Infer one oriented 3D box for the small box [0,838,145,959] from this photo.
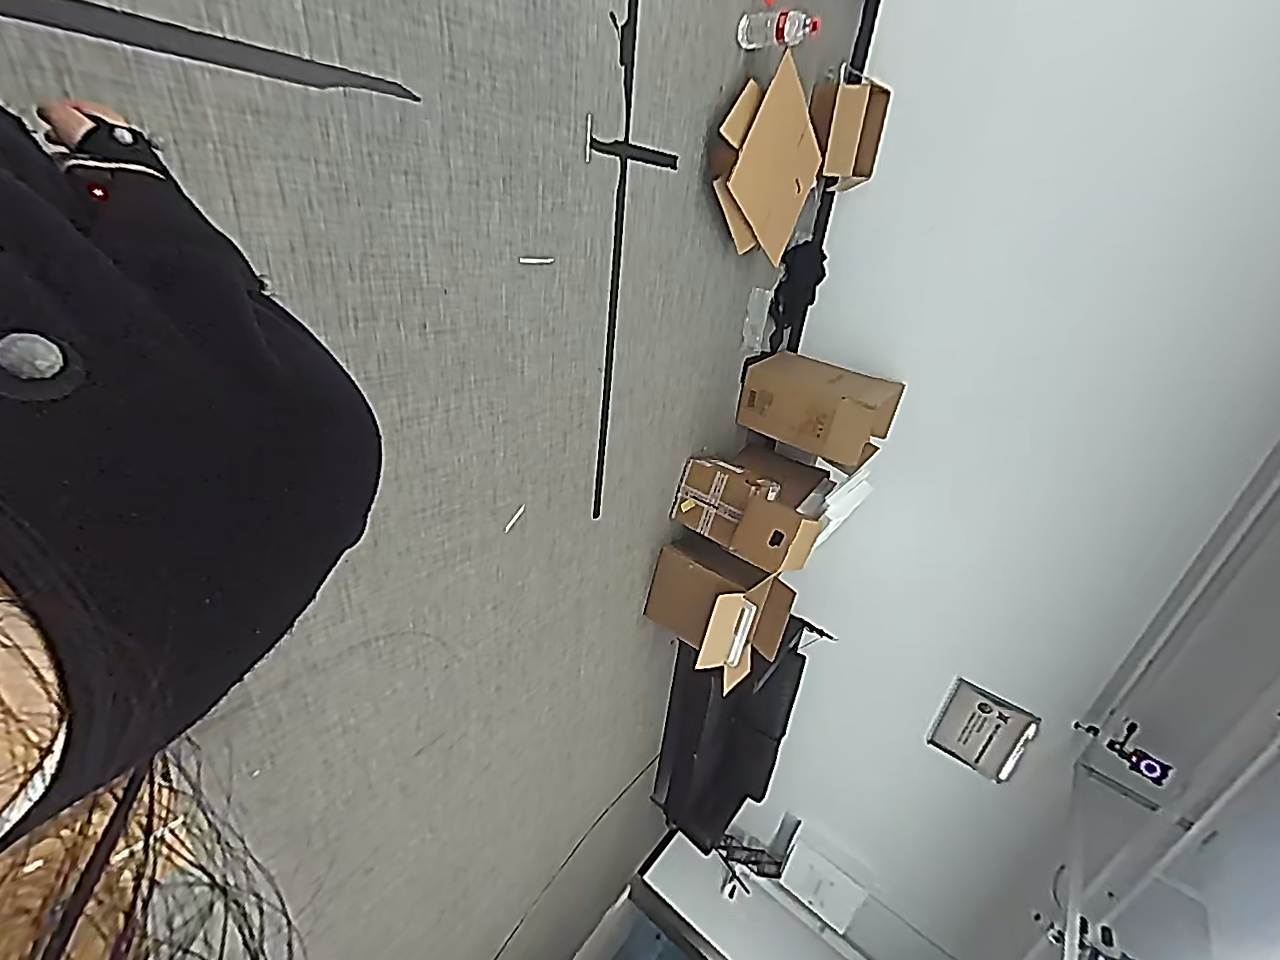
[{"bbox_3d":[-1.143,0.870,1.073,0.179,0.176,0.168,-26,130,-45],"label":"small box"}]
